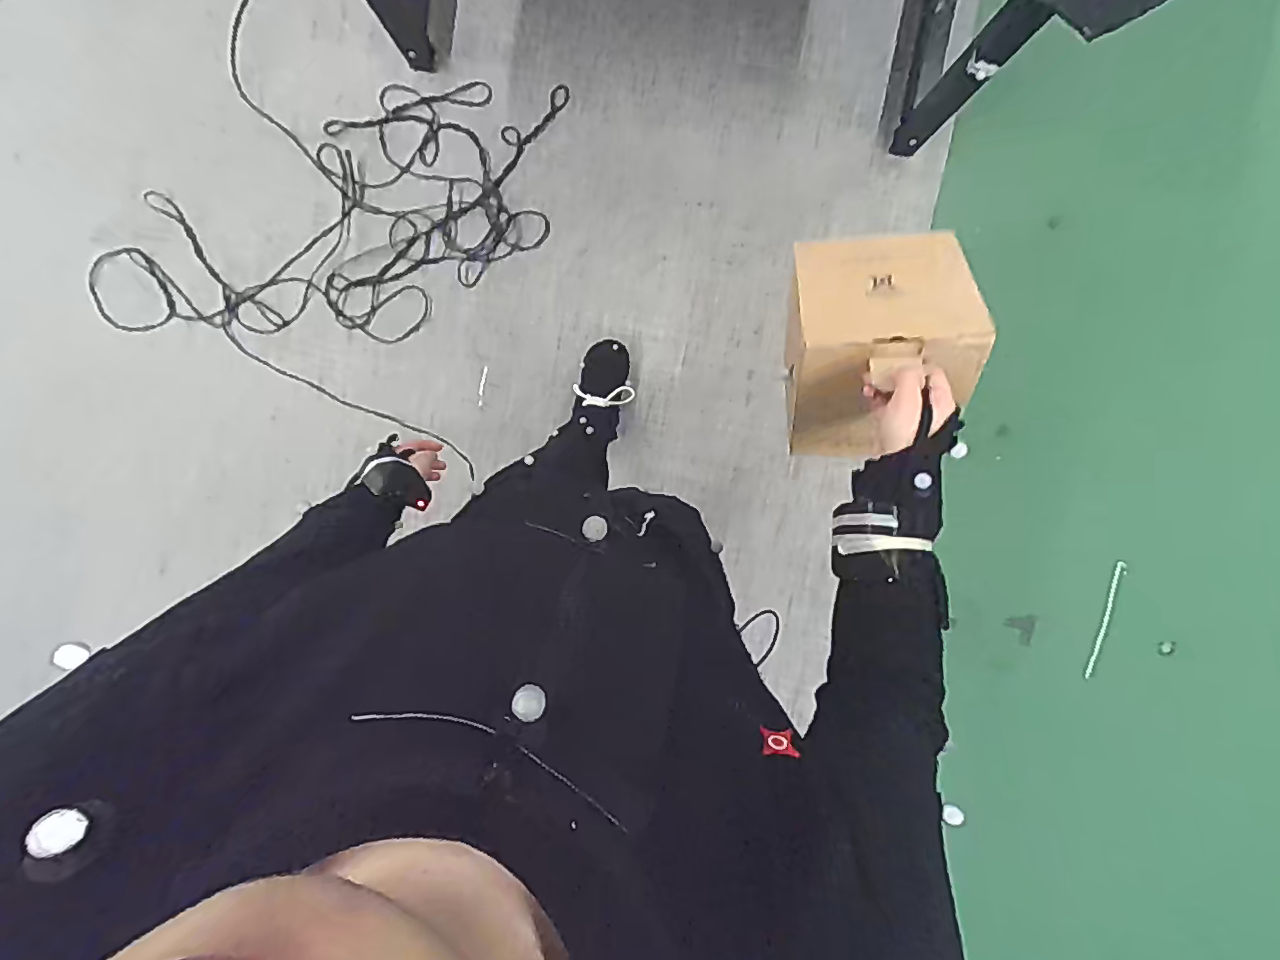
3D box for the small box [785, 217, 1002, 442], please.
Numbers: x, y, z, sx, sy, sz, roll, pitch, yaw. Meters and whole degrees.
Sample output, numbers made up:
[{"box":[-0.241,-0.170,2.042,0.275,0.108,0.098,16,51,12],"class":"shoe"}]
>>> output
[{"box":[0.250,-0.153,0.585,0.168,0.176,0.179,-1,53,9],"class":"small box"}]
